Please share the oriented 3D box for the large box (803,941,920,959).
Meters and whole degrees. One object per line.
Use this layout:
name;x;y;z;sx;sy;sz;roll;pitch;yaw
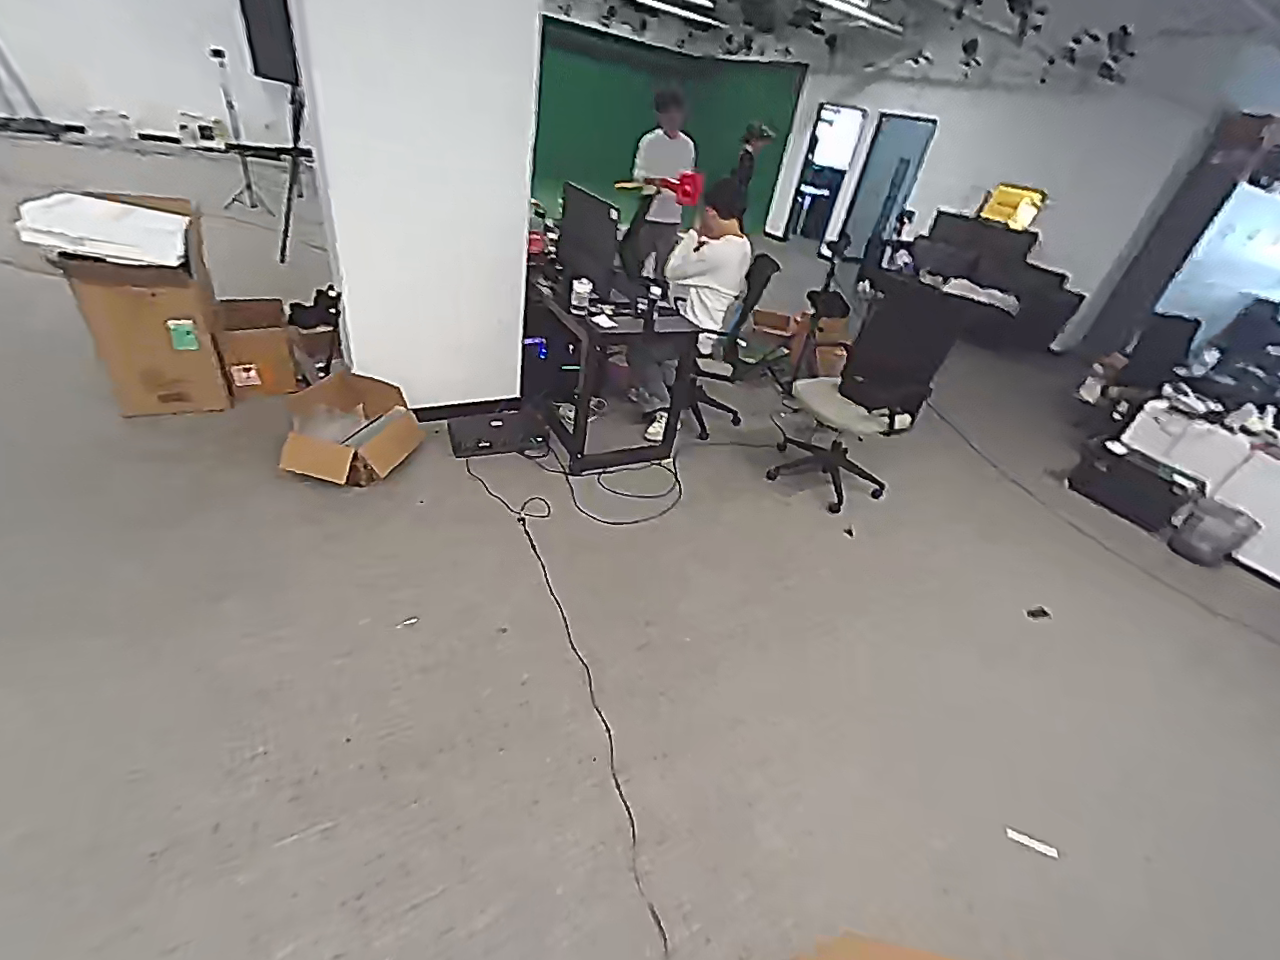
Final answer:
large box;0.292;0.801;0.618;0.320;0.408;0.320;-8;59;-19
